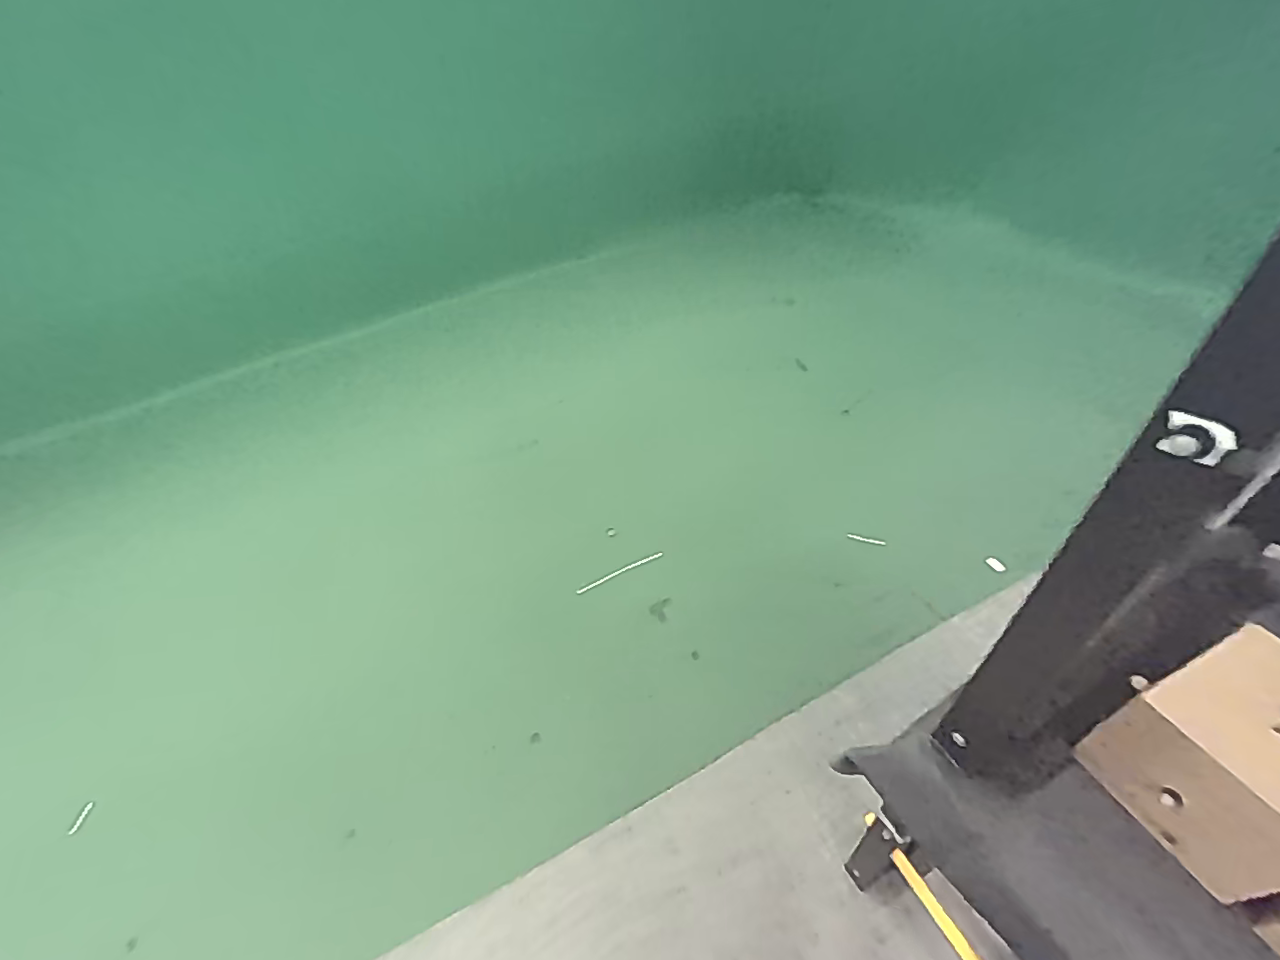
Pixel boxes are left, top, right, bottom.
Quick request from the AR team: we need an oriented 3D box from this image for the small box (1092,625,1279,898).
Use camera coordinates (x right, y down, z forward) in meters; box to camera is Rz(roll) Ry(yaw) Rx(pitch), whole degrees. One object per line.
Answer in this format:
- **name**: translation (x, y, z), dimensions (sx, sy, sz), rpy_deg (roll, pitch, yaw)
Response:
- **small box**: translation (0.619, 0.288, 0.552), dimensions (0.179, 0.176, 0.168), rpy_deg (-22, 47, -12)
